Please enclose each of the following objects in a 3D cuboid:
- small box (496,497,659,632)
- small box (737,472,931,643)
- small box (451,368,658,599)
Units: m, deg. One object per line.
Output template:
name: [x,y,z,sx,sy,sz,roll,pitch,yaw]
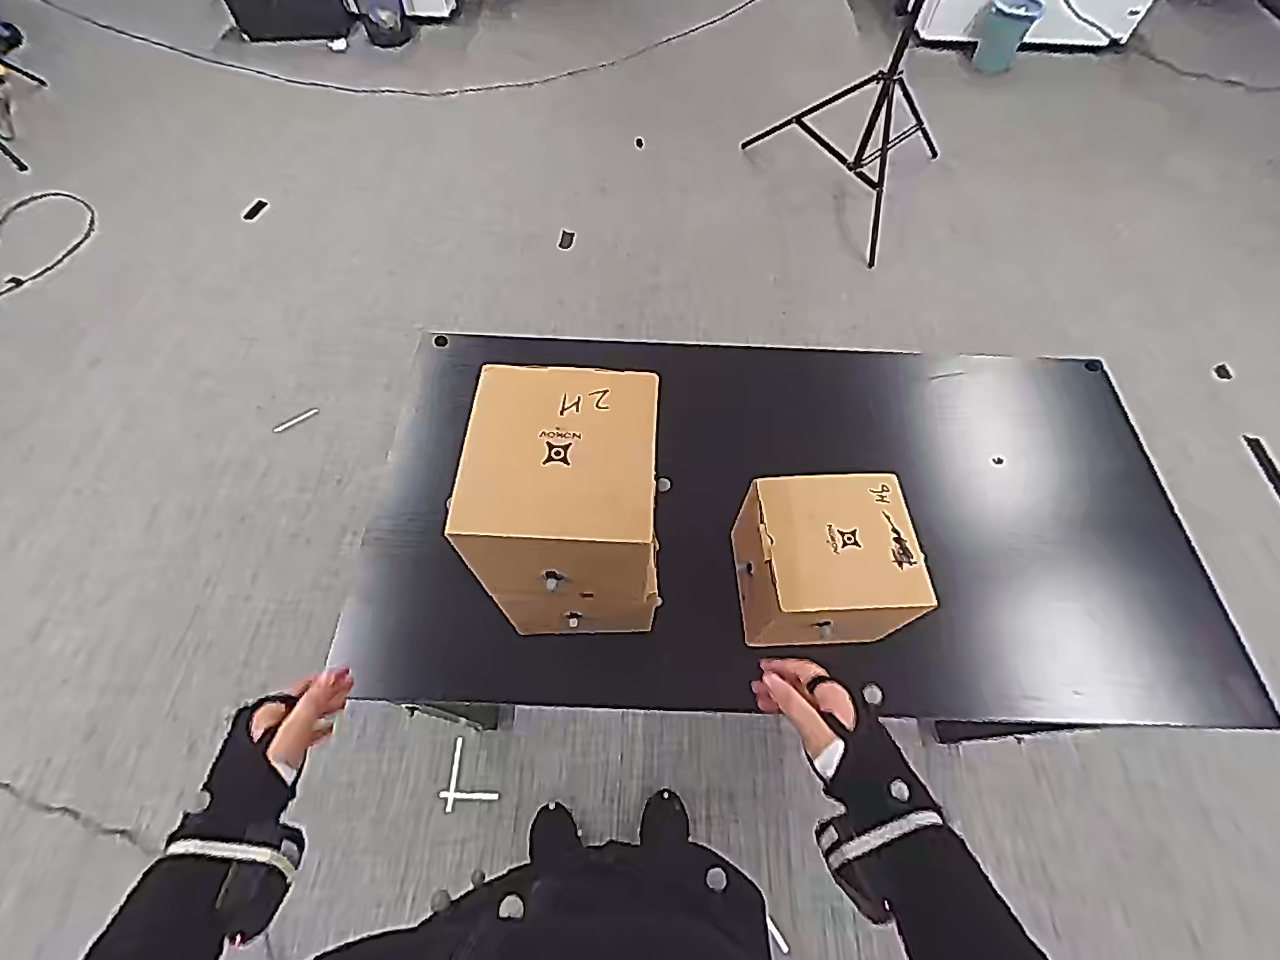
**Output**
small box: [-0.071,0.091,0.686,0.179,0.176,0.168,-2,61,-1]
small box: [0.225,0.104,0.688,0.179,0.176,0.168,-3,61,-2]
small box: [-0.069,0.011,0.542,0.168,0.176,0.179,3,60,0]
